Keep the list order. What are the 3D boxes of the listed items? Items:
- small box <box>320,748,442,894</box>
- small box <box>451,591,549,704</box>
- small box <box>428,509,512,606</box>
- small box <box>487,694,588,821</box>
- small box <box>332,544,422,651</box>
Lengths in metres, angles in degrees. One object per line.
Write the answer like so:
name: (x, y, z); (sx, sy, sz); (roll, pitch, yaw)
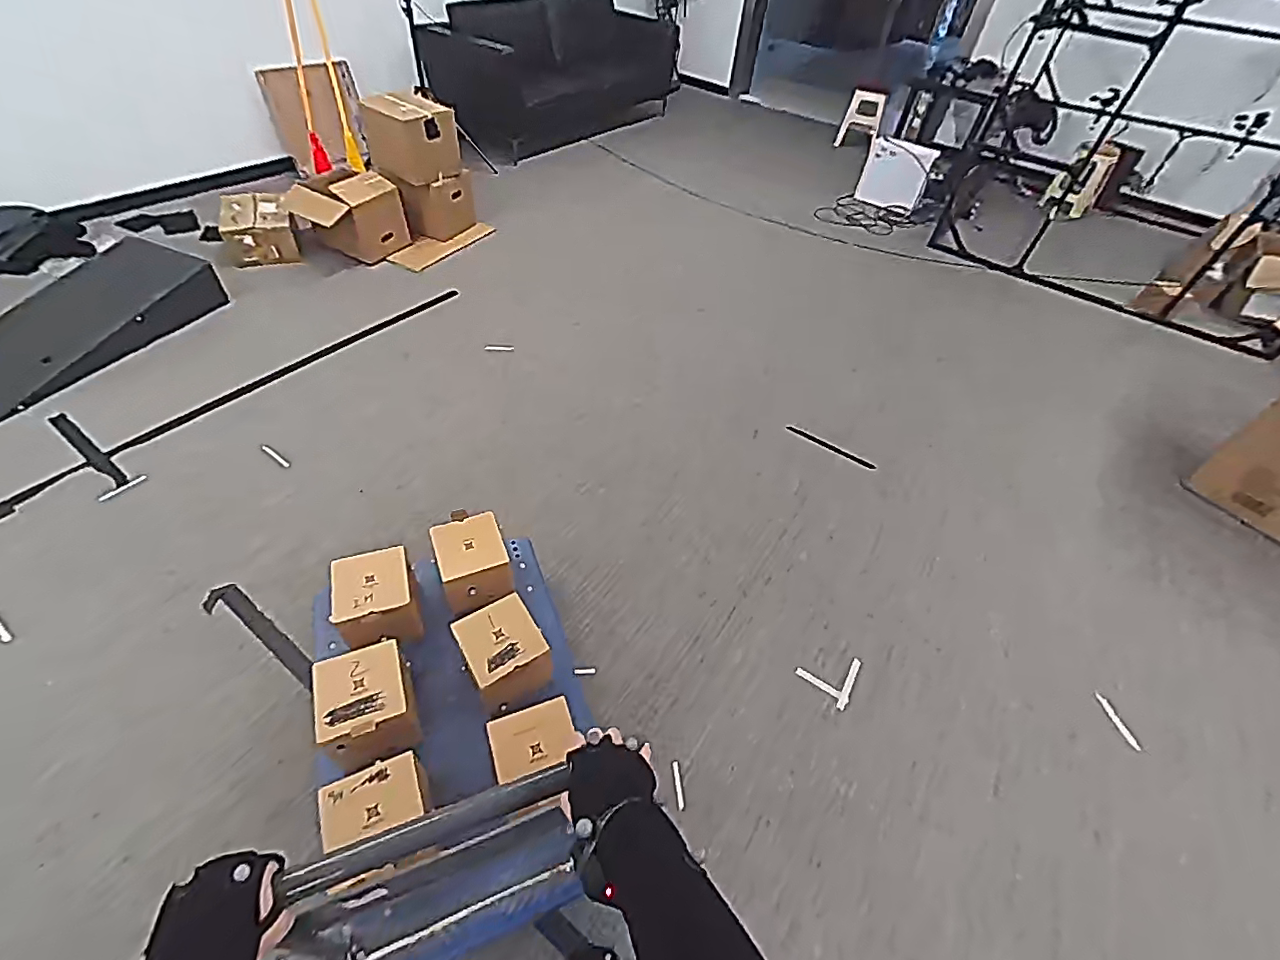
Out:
small box: (-0.484, 0.649, 1.022); (0.168, 0.176, 0.179); (-15, 52, -23)
small box: (-0.324, 0.401, 1.273); (0.168, 0.176, 0.179); (-24, 55, -27)
small box: (-0.444, 0.212, 1.429); (0.168, 0.176, 0.179); (-16, 52, -21)
small box: (-0.213, 0.582, 1.127); (0.168, 0.176, 0.179); (-12, 50, -20)
small box: (-0.643, 0.288, 1.329); (0.168, 0.176, 0.179); (-12, 52, -18)
